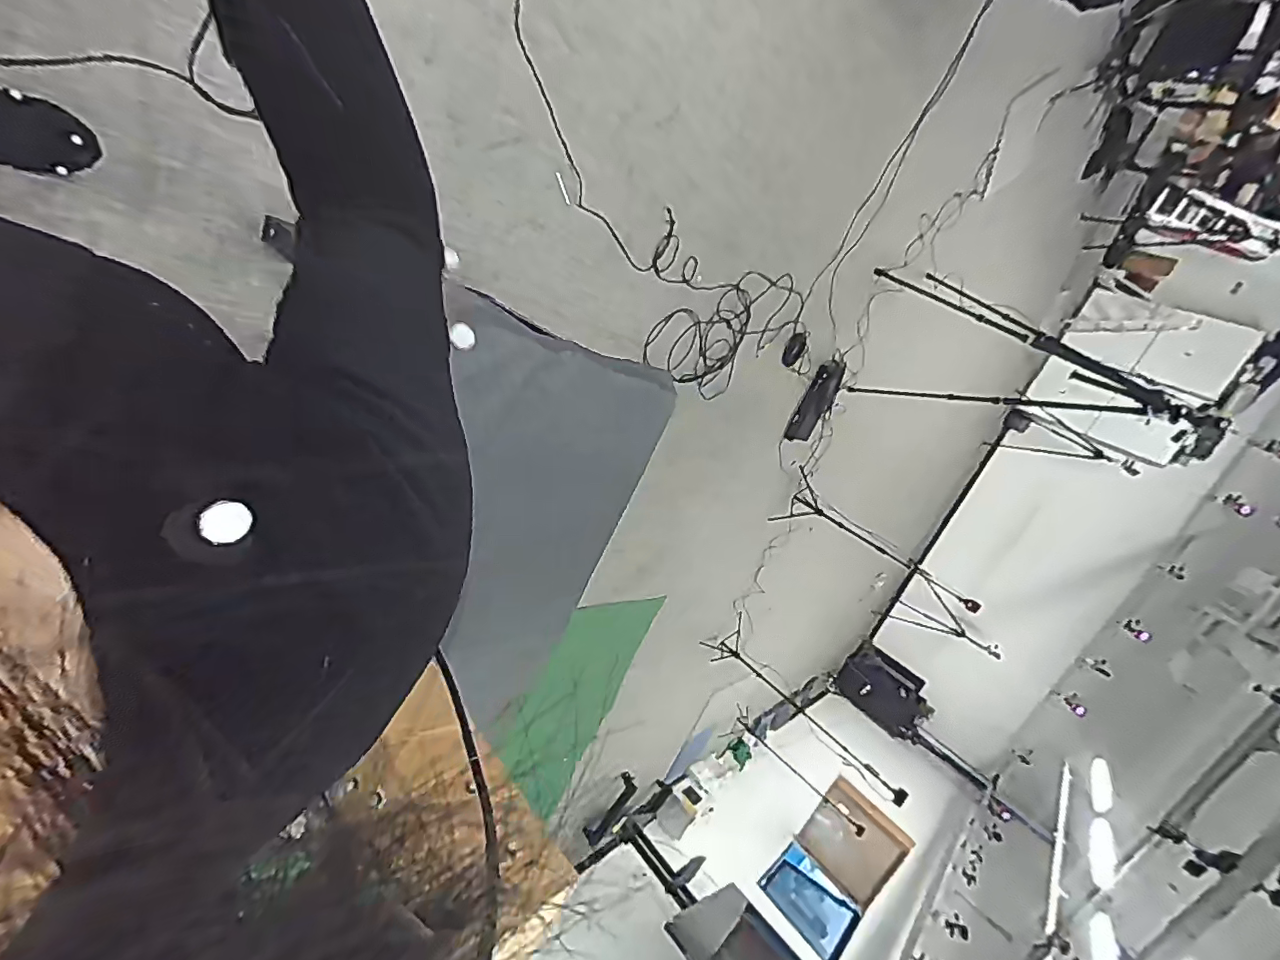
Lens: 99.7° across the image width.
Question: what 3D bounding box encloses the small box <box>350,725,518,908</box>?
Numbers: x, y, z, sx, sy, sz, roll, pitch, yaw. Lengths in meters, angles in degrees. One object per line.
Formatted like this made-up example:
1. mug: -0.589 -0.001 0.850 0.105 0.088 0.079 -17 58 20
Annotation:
1. small box: -0.345 0.543 0.905 0.179 0.176 0.168 14 106 -53

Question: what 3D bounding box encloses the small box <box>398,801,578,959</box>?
1. small box: -0.233 0.623 0.816 0.168 0.176 0.179 16 104 -54

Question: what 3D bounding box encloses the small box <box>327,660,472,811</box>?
1. small box: -0.450 0.466 1.002 0.168 0.176 0.179 10 111 -54
